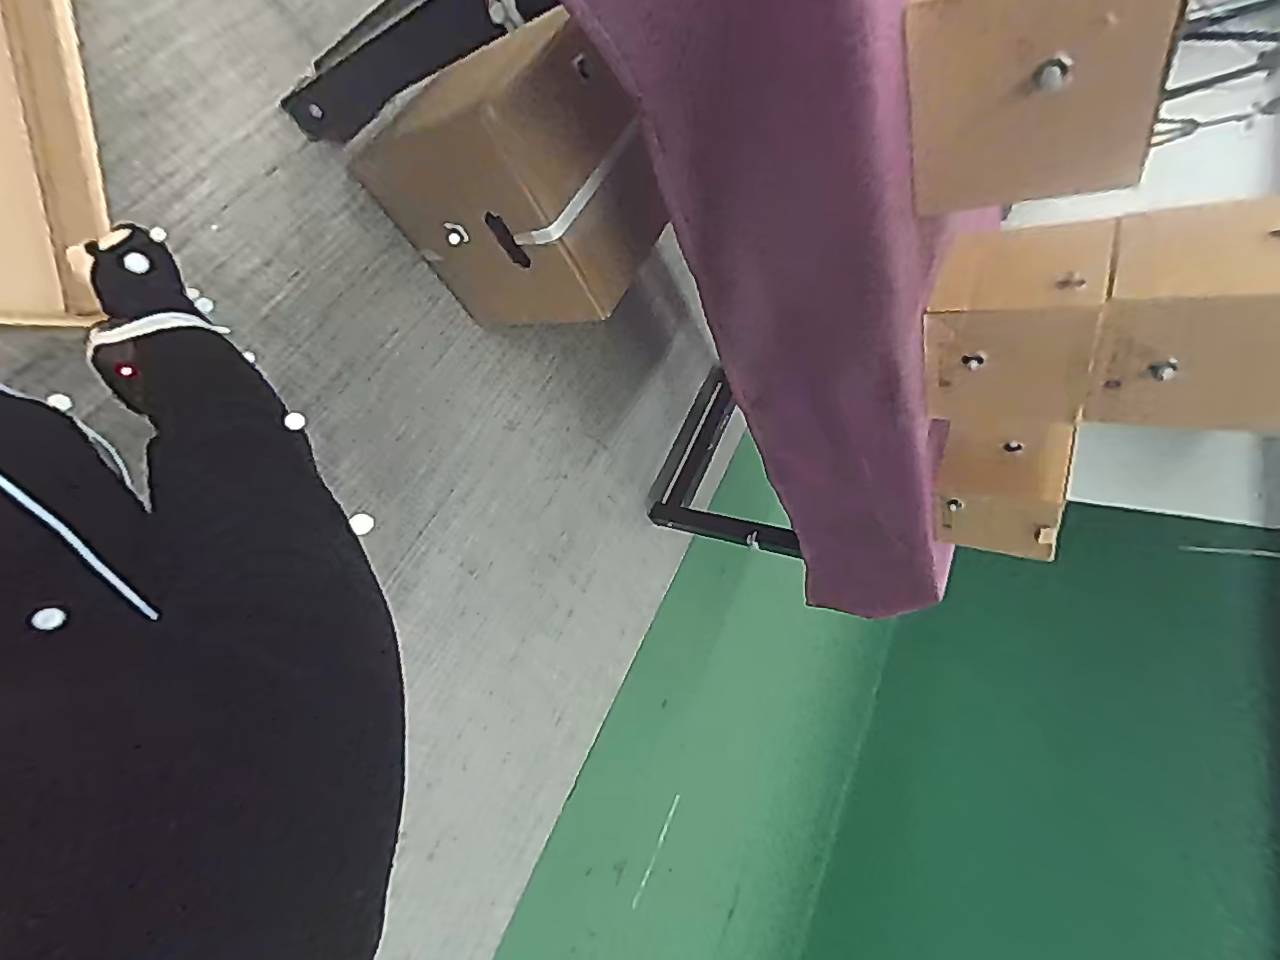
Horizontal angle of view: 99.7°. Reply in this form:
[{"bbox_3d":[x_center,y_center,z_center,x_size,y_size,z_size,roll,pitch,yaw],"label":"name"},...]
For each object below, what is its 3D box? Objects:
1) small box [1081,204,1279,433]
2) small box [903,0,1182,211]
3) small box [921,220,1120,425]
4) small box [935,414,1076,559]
[{"bbox_3d":[0.593,-0.173,0.574,0.179,0.176,0.168,-56,137,-28],"label":"small box"},{"bbox_3d":[0.334,-0.360,0.457,0.168,0.176,0.179,-60,139,-23],"label":"small box"},{"bbox_3d":[0.460,-0.193,0.669,0.179,0.176,0.168,-57,138,-26],"label":"small box"},{"bbox_3d":[0.593,0.001,0.888,0.179,0.176,0.168,-61,140,-24],"label":"small box"}]
